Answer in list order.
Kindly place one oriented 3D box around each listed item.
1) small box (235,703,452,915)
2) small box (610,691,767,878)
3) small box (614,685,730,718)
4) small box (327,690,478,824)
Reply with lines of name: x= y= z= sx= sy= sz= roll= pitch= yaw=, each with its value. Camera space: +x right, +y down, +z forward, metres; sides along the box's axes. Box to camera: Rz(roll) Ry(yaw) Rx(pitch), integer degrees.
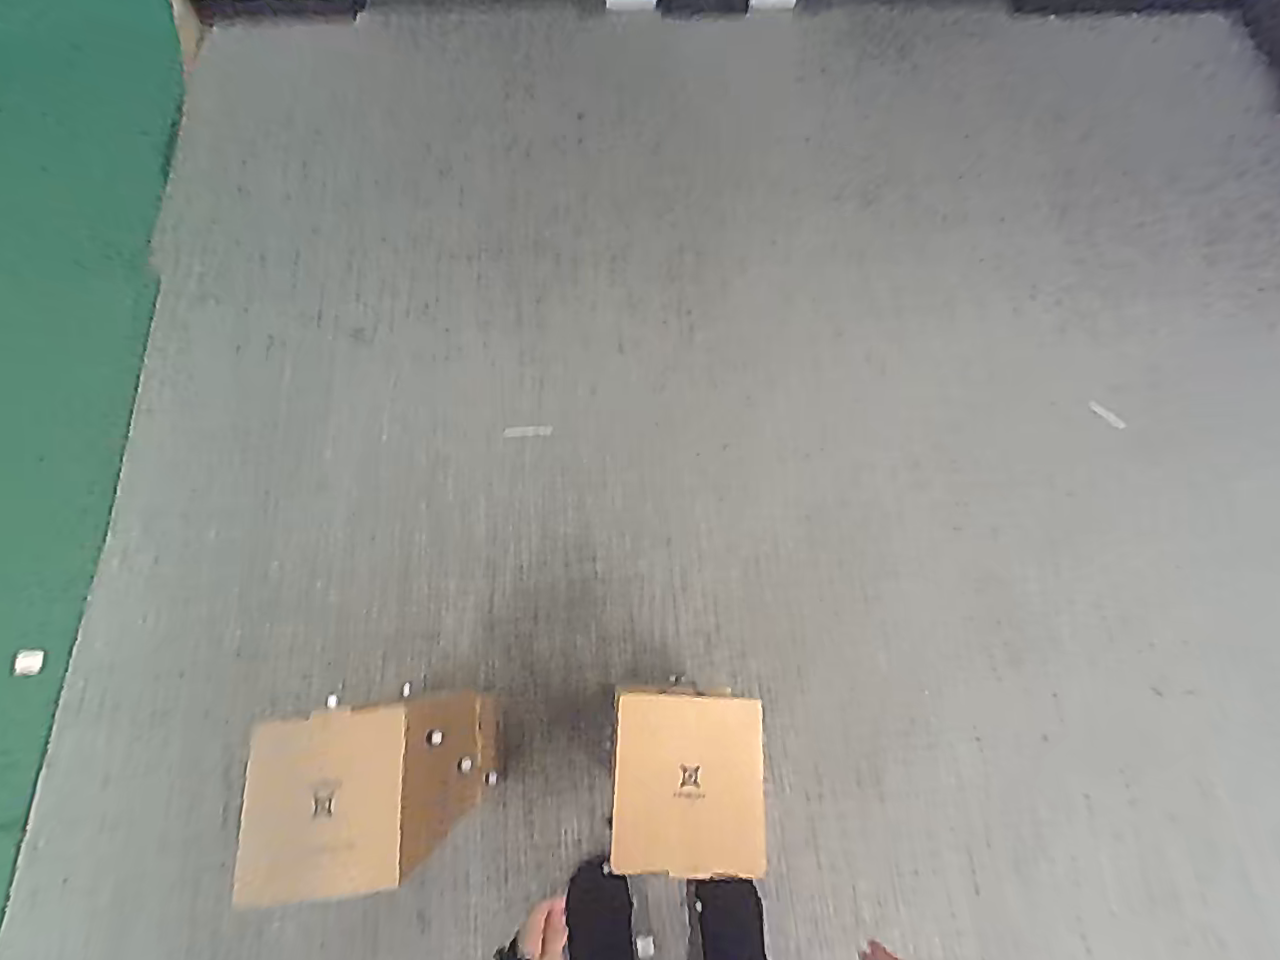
small box: x=-0.329 y=0.366 z=0.639 sx=0.168 sy=0.176 sz=0.179 roll=-6 pitch=72 yaw=-4
small box: x=0.050 y=0.357 z=0.666 sx=0.168 sy=0.176 sz=0.179 roll=3 pitch=71 yaw=-3
small box: x=0.044 y=0.406 z=0.821 sx=0.168 sy=0.176 sz=0.179 roll=0 pitch=71 yaw=-3
small box: x=-0.340 y=0.414 z=0.793 sx=0.168 sy=0.176 sz=0.179 roll=-6 pitch=72 yaw=-5
